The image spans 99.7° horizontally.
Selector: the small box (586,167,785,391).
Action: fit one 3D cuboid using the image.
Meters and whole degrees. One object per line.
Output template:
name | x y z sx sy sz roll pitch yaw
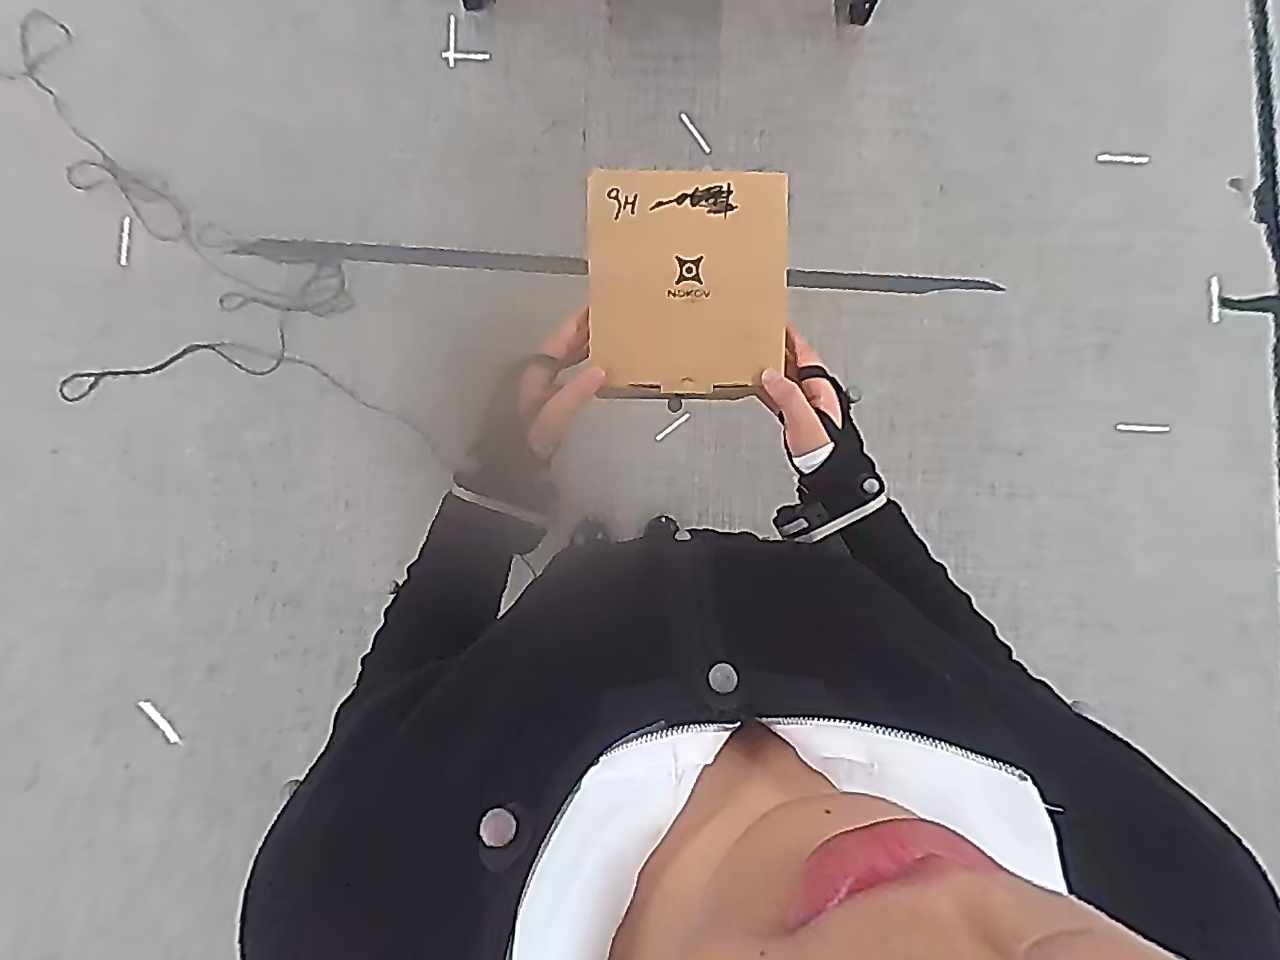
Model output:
small box | 0.036 -0.178 0.530 0.168 0.176 0.179 0 96 -2
